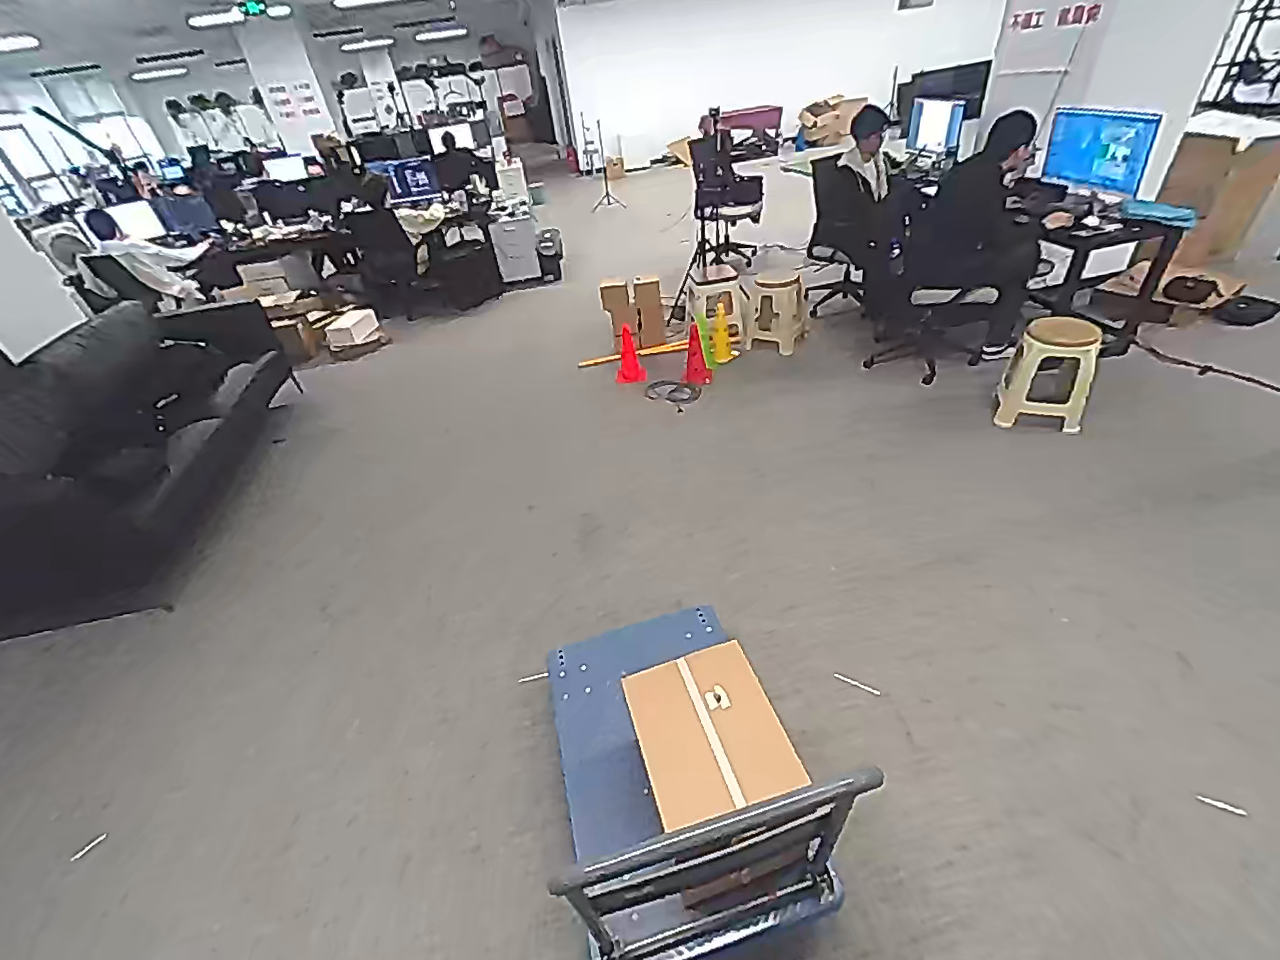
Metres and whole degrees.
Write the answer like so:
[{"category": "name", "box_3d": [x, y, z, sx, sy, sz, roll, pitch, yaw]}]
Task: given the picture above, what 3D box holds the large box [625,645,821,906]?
[{"category": "large box", "box_3d": [0.183, 0.687, 1.292, 0.320, 0.320, 0.408, -15, 37, -9]}]
